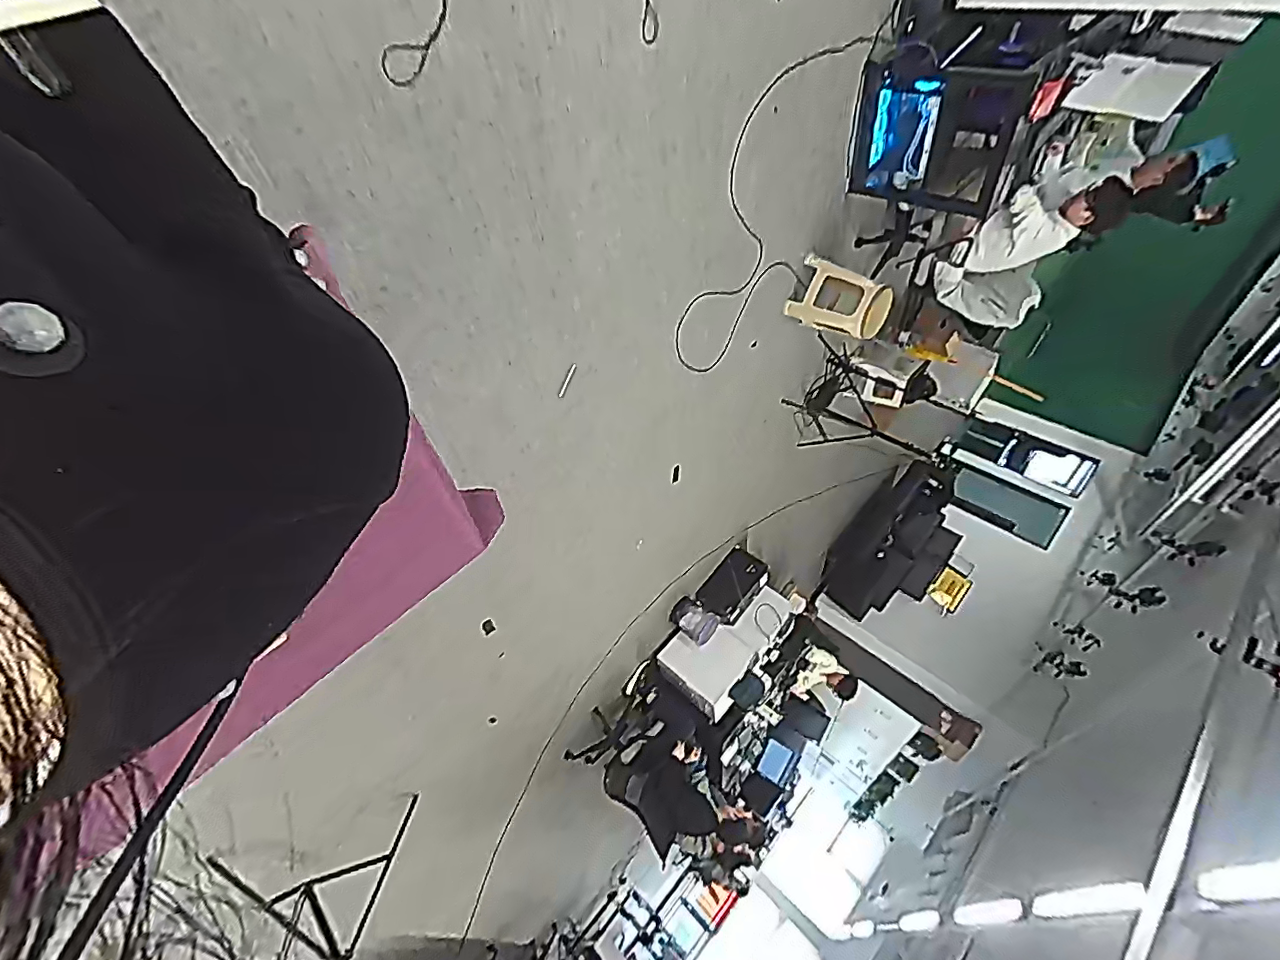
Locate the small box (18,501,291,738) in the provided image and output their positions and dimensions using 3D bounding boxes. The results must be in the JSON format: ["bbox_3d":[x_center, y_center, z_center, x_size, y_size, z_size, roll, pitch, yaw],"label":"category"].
[{"bbox_3d":[-0.574,0.160,0.648,0.179,0.176,0.168,-39,145,-27],"label":"small box"}]
